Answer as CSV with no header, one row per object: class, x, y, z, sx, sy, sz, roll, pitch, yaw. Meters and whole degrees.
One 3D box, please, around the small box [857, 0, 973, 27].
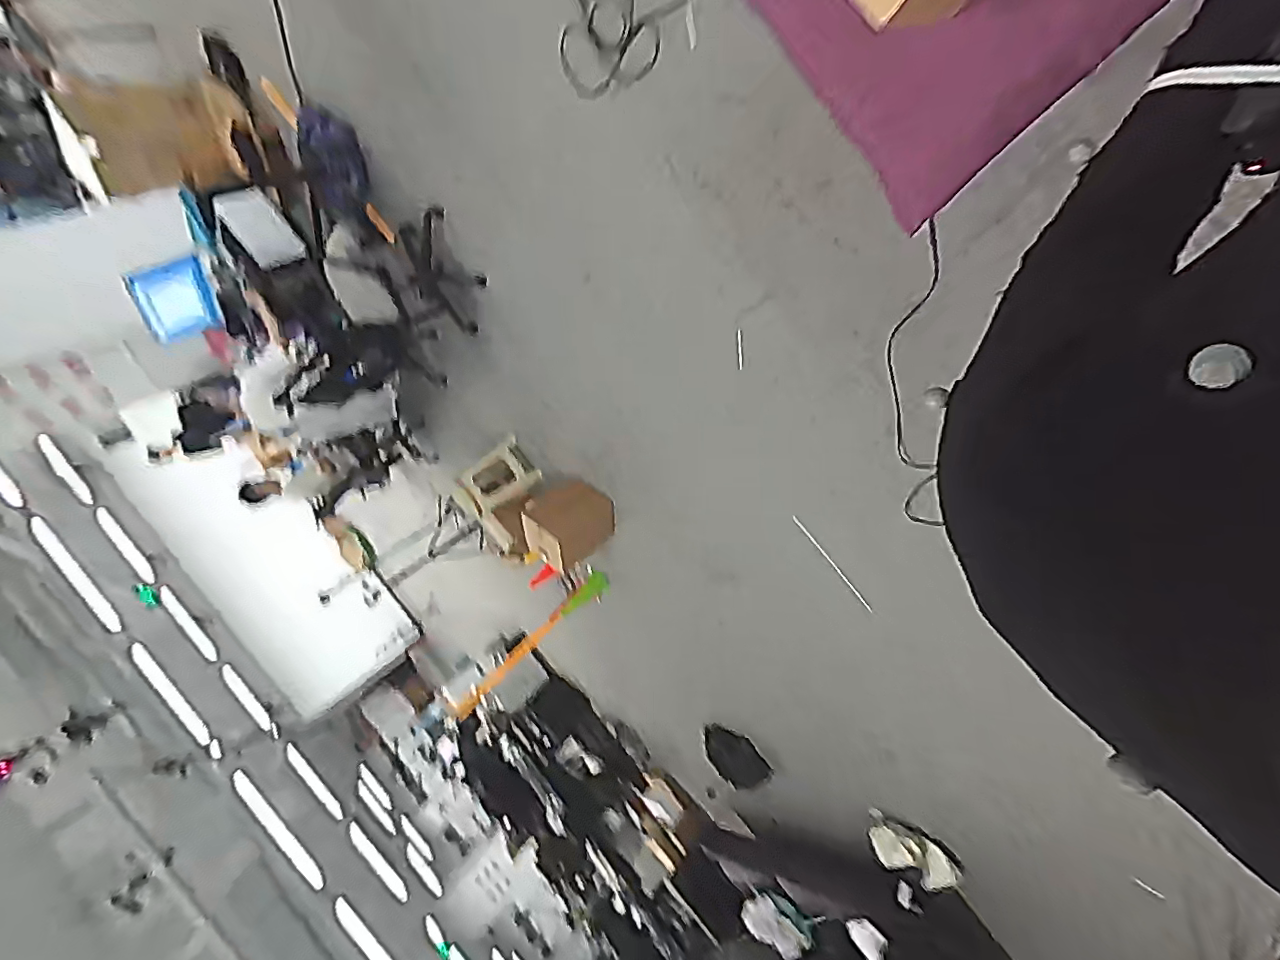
small box,0.243,-0.515,0.435,0.179,0.176,0.168,52,147,0
